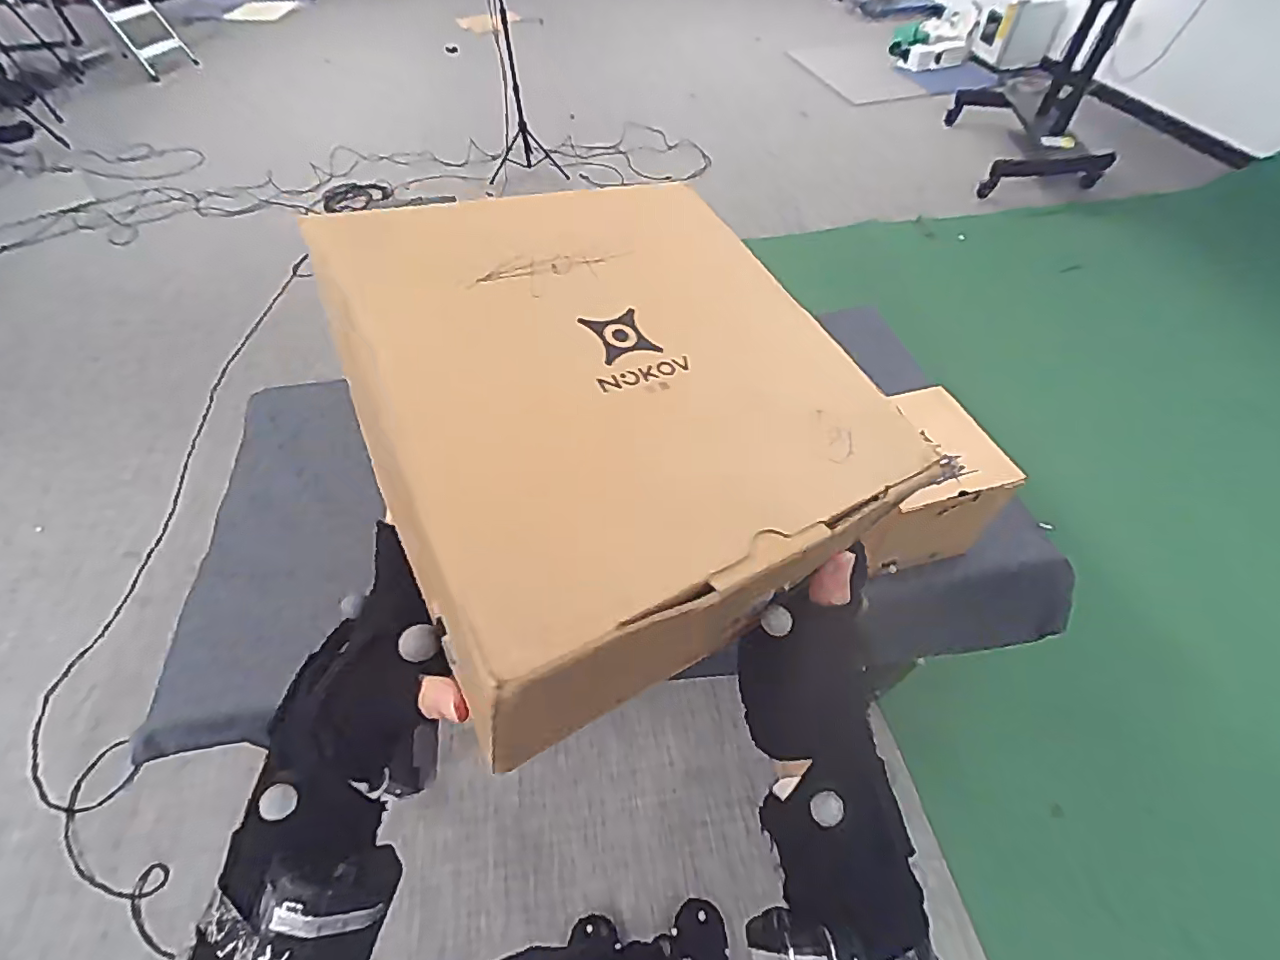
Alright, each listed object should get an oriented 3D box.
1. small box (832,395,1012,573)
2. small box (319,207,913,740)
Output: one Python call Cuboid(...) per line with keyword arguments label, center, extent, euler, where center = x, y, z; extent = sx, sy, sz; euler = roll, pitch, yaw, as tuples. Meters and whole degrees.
Cuboid(label="small box", center=(0.355, 0.012, 0.755), extent=(0.168, 0.176, 0.179), euler=(-12, 51, -7))
Cuboid(label="small box", center=(-0.025, 0.001, 0.262), extent=(0.168, 0.176, 0.179), euler=(-20, 63, -28))
